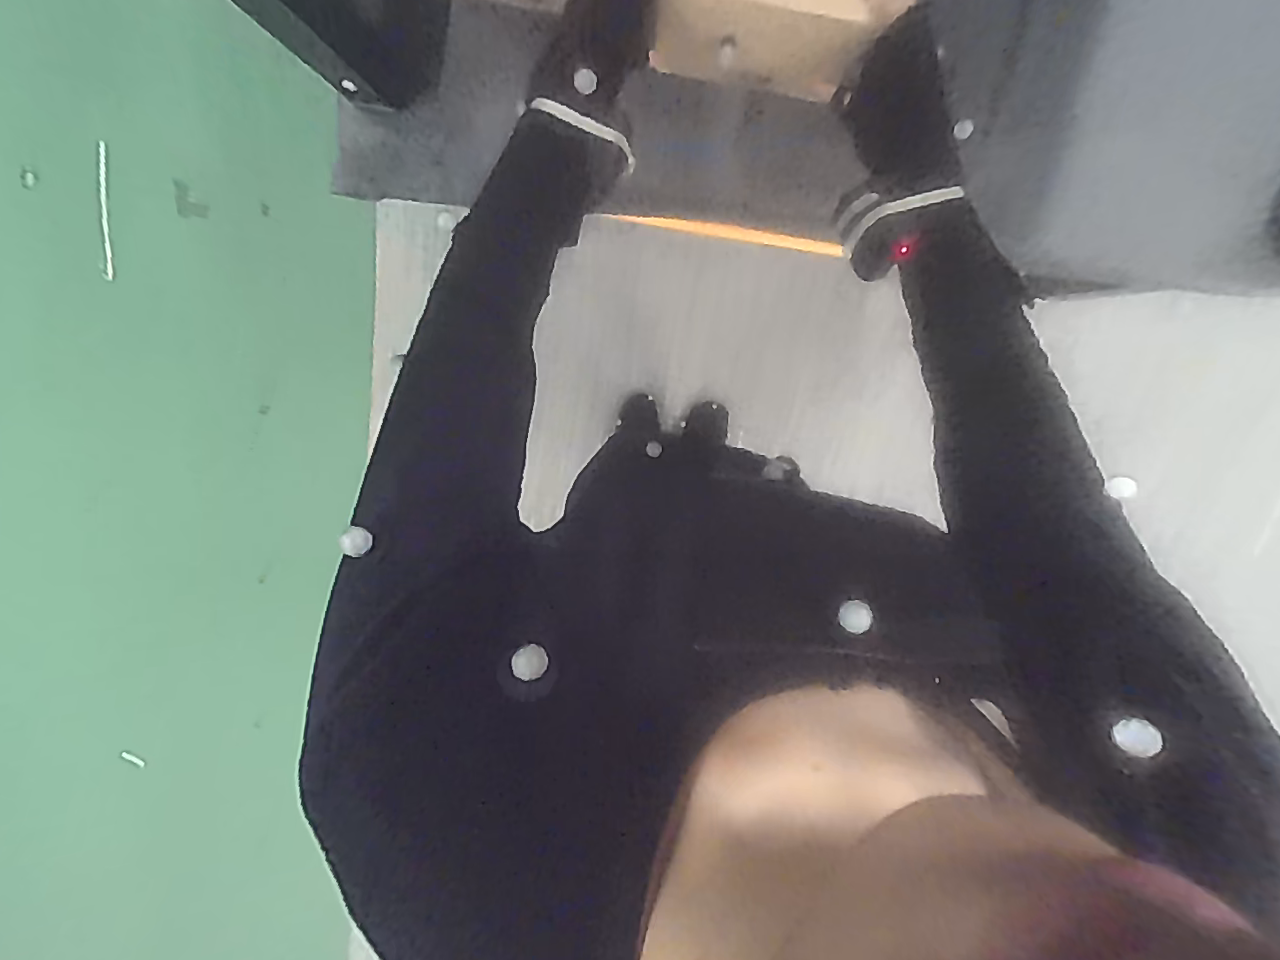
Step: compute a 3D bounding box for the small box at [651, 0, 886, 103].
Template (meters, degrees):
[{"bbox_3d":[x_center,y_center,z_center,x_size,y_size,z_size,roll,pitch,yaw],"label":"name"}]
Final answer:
[{"bbox_3d":[0.105,-0.432,0.427,0.168,0.176,0.179,9,108,-2],"label":"small box"}]
